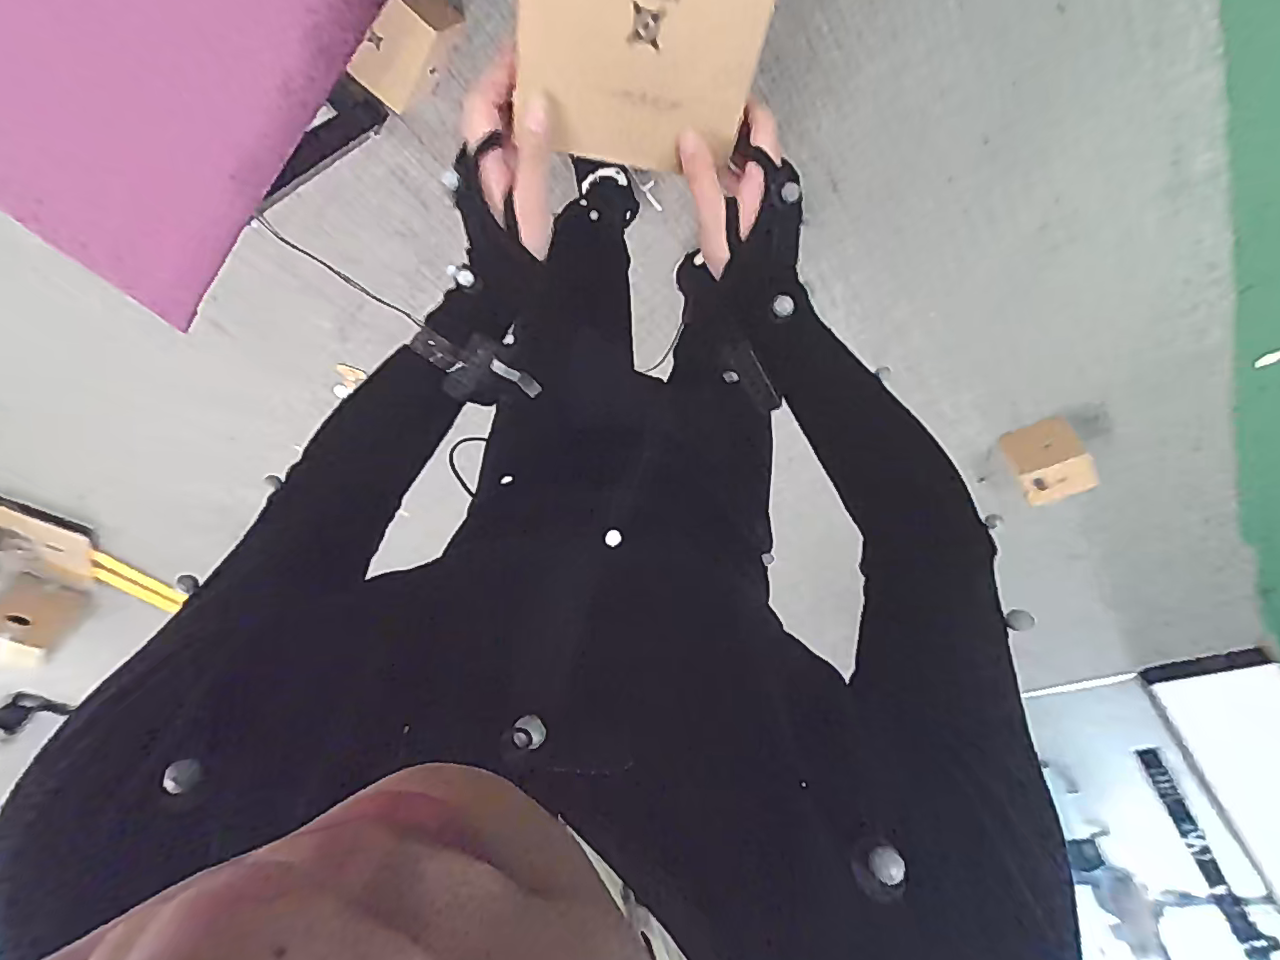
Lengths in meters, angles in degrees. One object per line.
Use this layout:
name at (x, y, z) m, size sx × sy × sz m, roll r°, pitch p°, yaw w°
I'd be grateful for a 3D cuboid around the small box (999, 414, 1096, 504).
small box at (1.207, -0.062, 1.614) m, size 0.179 × 0.176 × 0.168 m, roll -27°, pitch 128°, yaw 28°

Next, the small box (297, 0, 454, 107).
small box at (-0.465, -0.829, 0.973) m, size 0.179 × 0.176 × 0.168 m, roll 34°, pitch 129°, yaw -27°
